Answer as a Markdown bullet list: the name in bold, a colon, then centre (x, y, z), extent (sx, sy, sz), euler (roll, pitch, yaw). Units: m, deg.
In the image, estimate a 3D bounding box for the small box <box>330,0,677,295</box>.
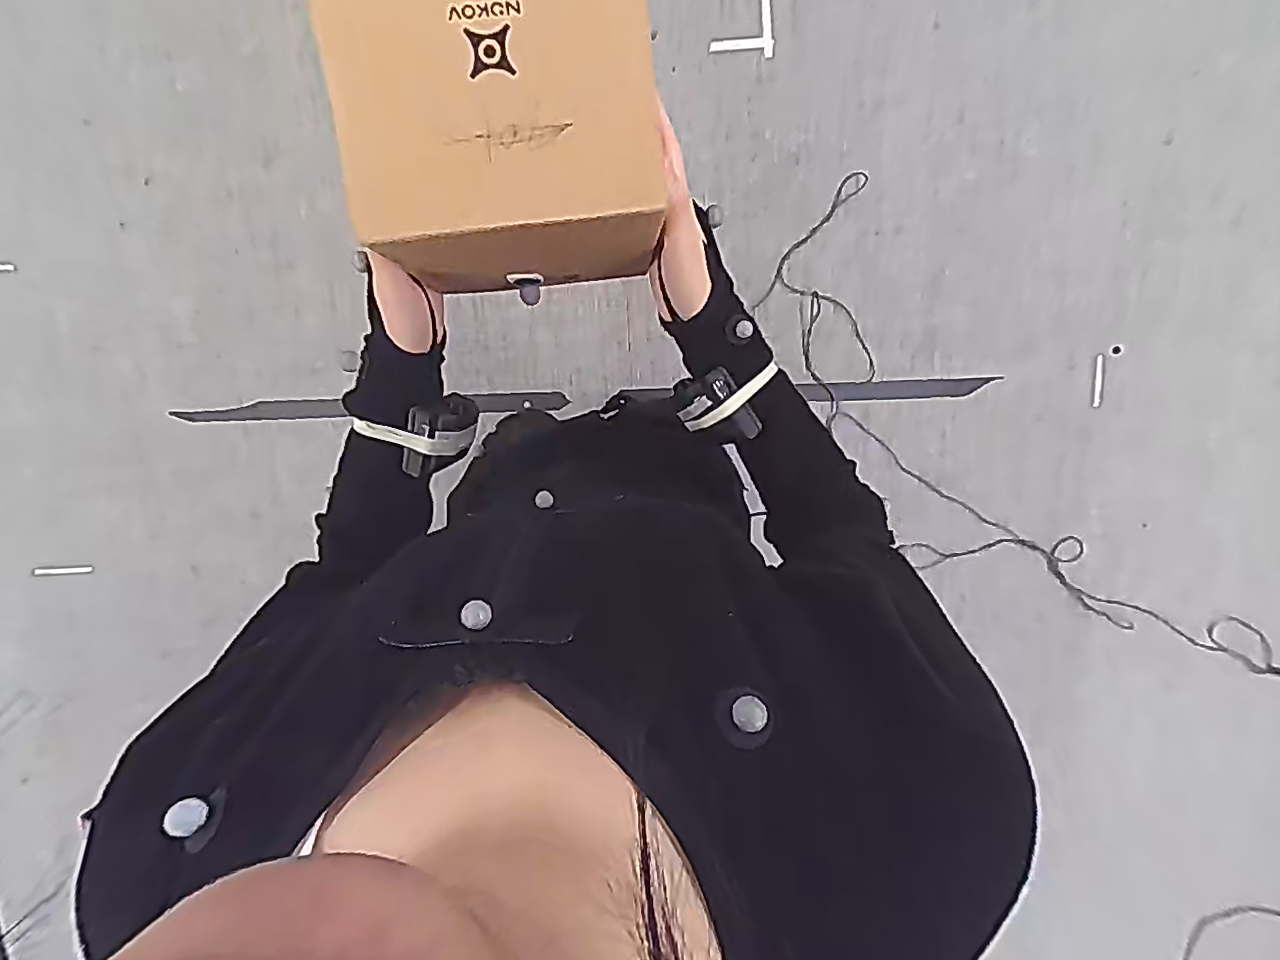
- **small box**: centre (-0.075, -0.233, 0.354), extent (0.168, 0.176, 0.179), euler (-8, 101, -2)
